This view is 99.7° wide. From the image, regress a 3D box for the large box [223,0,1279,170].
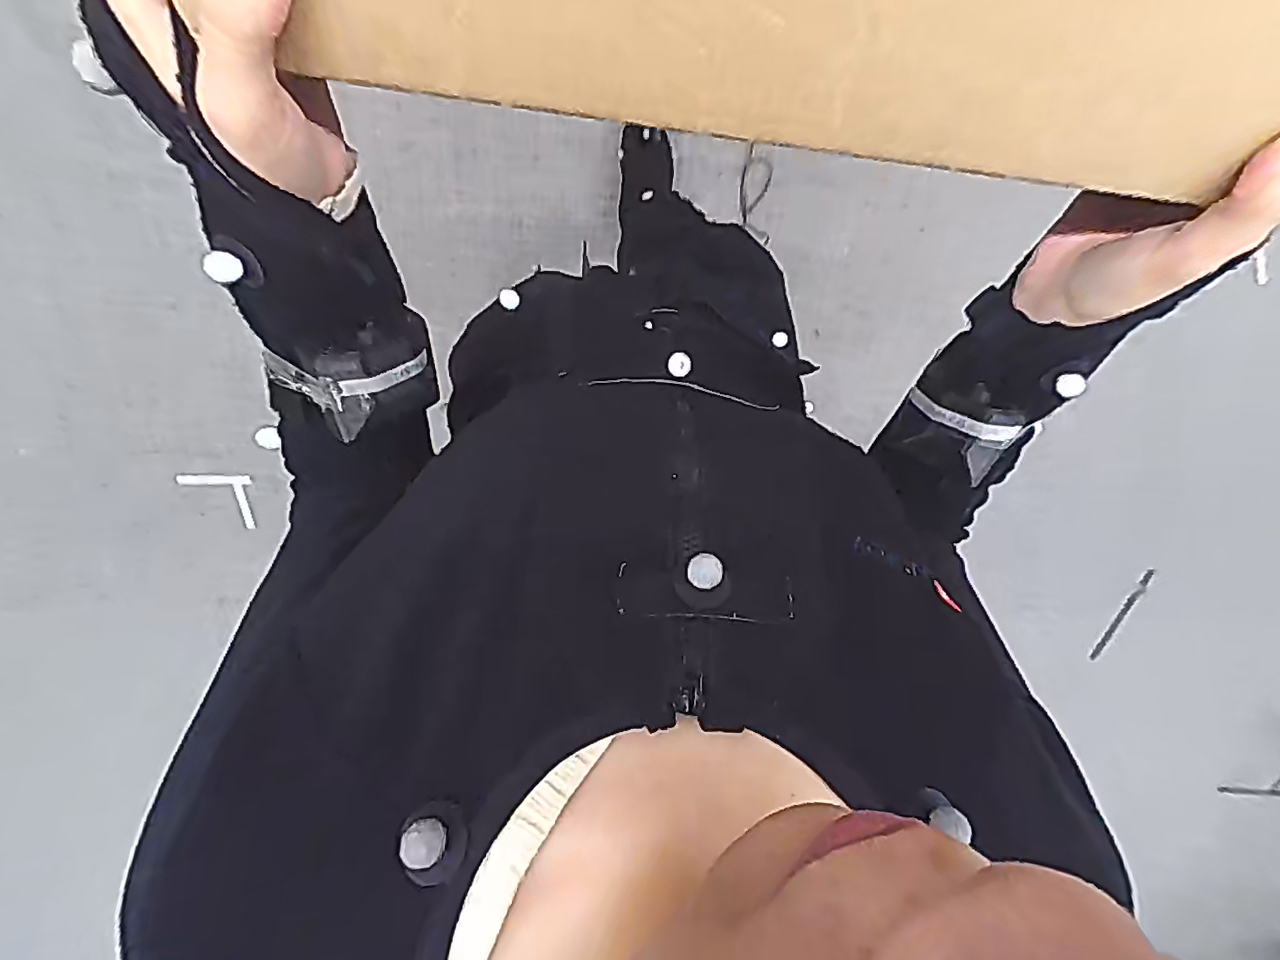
[{"bbox_3d":[0.076,-0.342,0.164,0.408,0.320,0.320,3,145,-7],"label":"large box"}]
